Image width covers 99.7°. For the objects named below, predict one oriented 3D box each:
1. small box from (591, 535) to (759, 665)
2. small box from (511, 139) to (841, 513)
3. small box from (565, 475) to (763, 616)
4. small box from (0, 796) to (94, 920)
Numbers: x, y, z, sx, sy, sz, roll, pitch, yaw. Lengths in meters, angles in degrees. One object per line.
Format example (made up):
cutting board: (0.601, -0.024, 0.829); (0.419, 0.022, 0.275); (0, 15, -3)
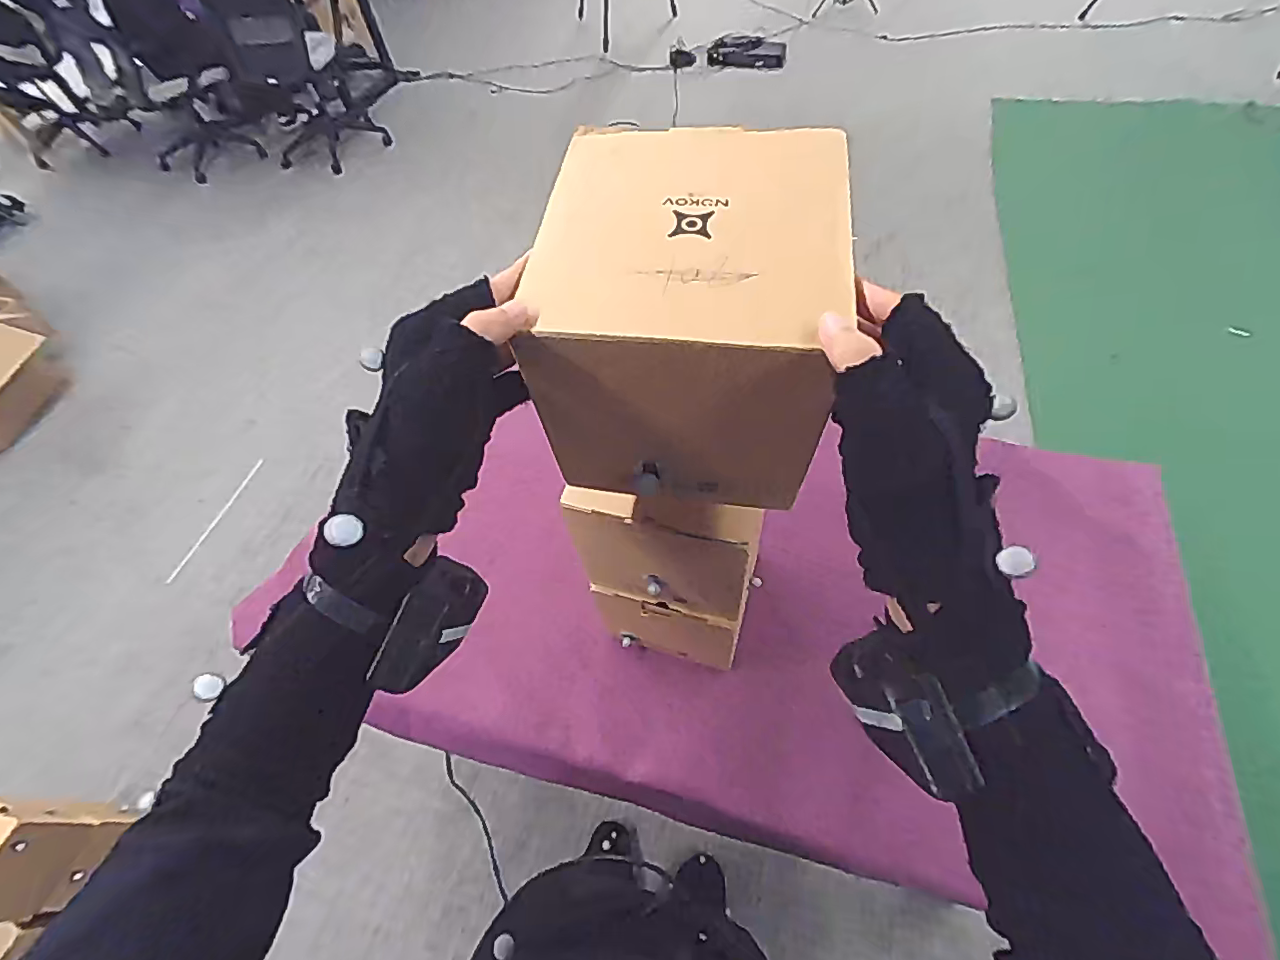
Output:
small box: (0.055, 0.114, 0.689); (0.168, 0.176, 0.179); (13, 57, 14)
small box: (0.032, -0.098, 0.371); (0.168, 0.176, 0.179); (6, 61, 8)
small box: (0.042, 0.014, 0.558); (0.168, 0.176, 0.179); (12, 58, 15)
small box: (-1.280, 0.754, 1.080); (0.168, 0.176, 0.179); (10, 57, 12)
